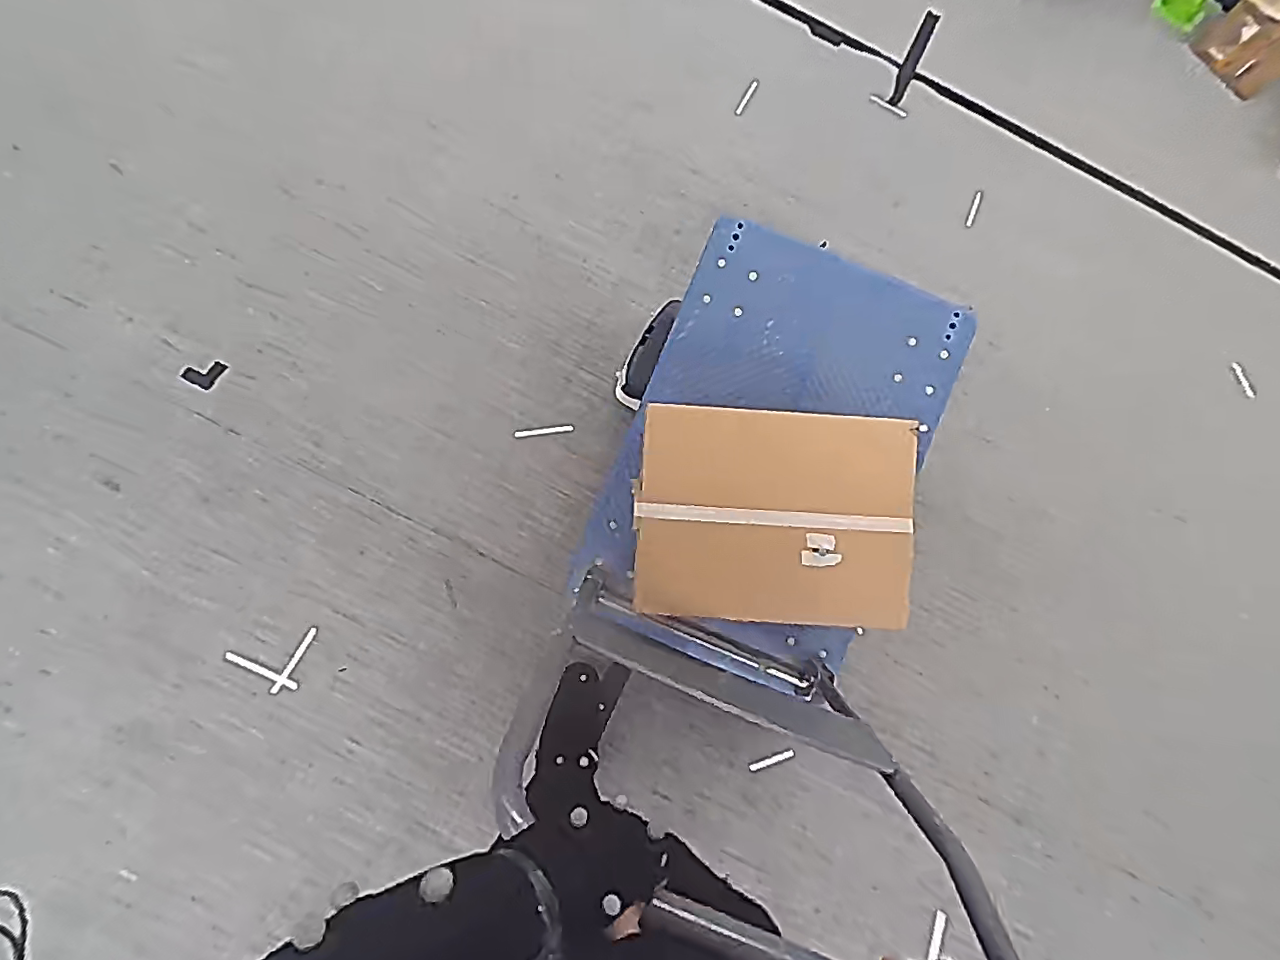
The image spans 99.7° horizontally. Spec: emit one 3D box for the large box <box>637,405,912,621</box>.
[{"bbox_3d":[0.200,0.054,0.953,0.408,0.320,0.320,3,89,-1],"label":"large box"}]
